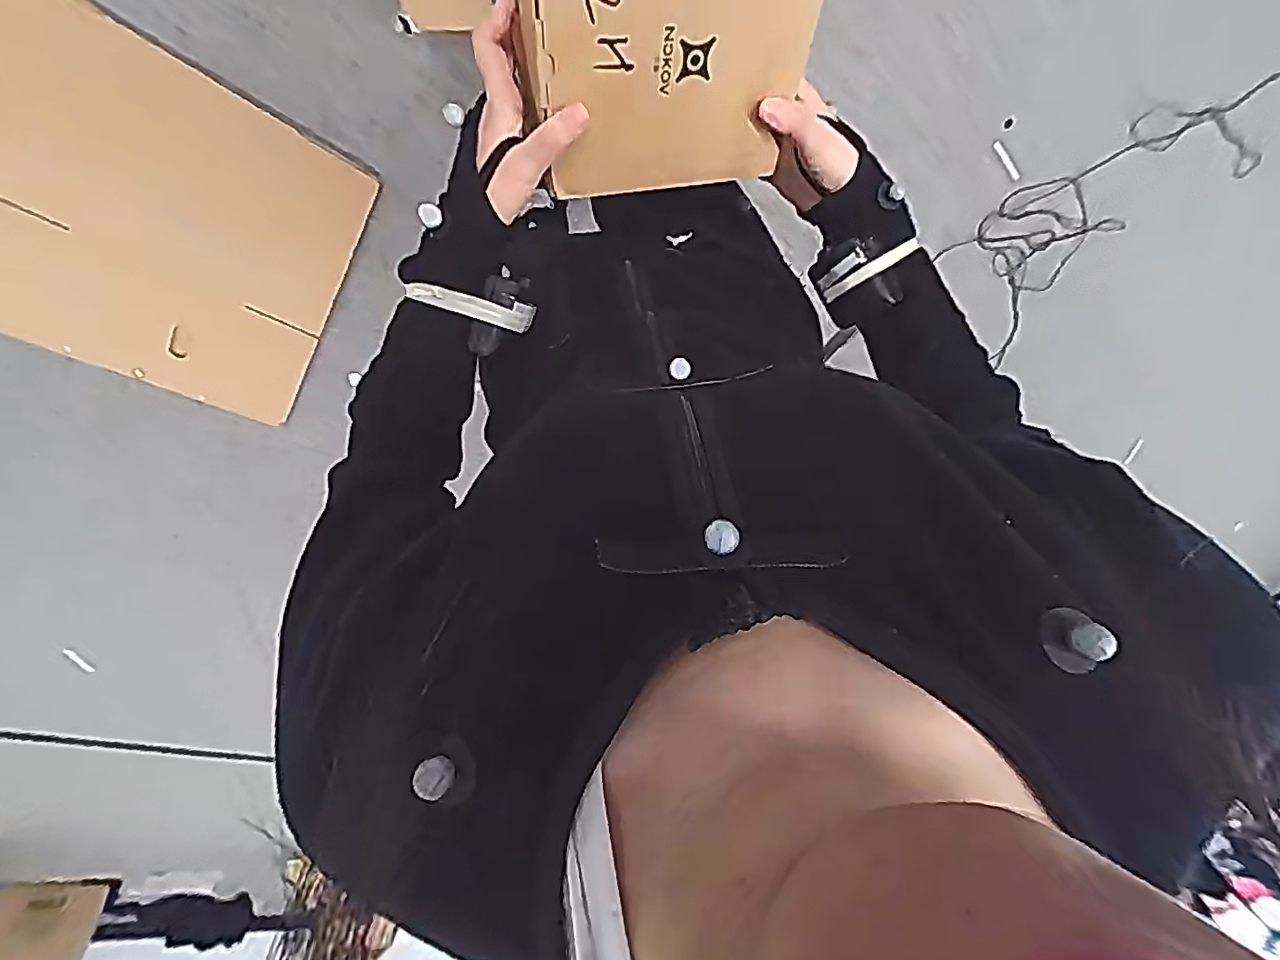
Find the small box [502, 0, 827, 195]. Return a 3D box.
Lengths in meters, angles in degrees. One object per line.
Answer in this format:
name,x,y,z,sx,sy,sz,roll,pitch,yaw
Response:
small box,0.006,-0.328,0.365,0.179,0.176,0.168,-13,152,-12
